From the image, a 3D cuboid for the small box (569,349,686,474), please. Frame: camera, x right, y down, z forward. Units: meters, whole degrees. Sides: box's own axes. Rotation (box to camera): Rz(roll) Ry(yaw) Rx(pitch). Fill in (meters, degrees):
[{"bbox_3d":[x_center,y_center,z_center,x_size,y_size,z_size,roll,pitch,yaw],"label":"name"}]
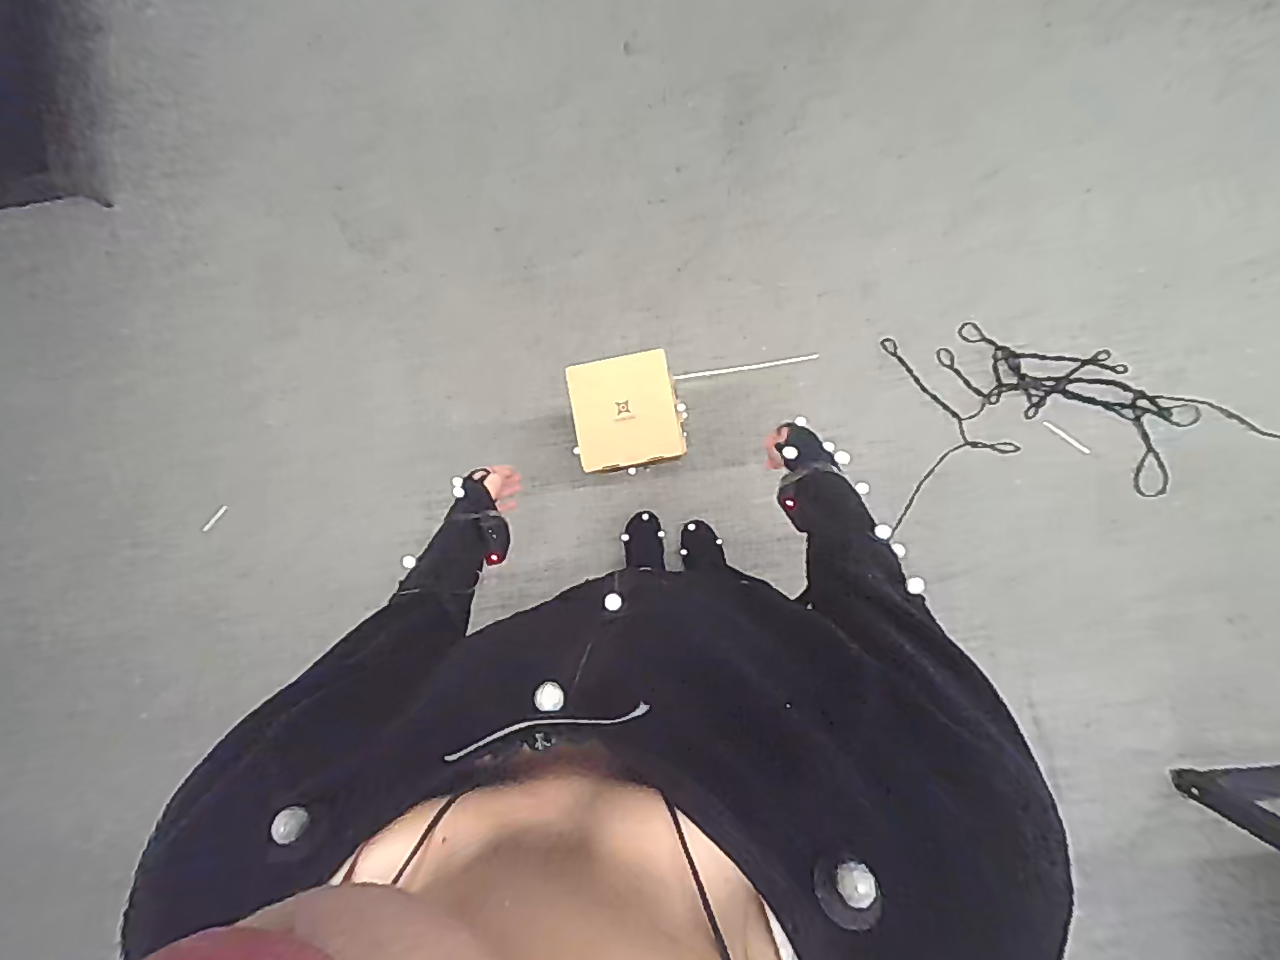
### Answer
[{"bbox_3d":[-0.016,-0.110,0.942,0.168,0.176,0.179,-11,90,5],"label":"small box"}]
